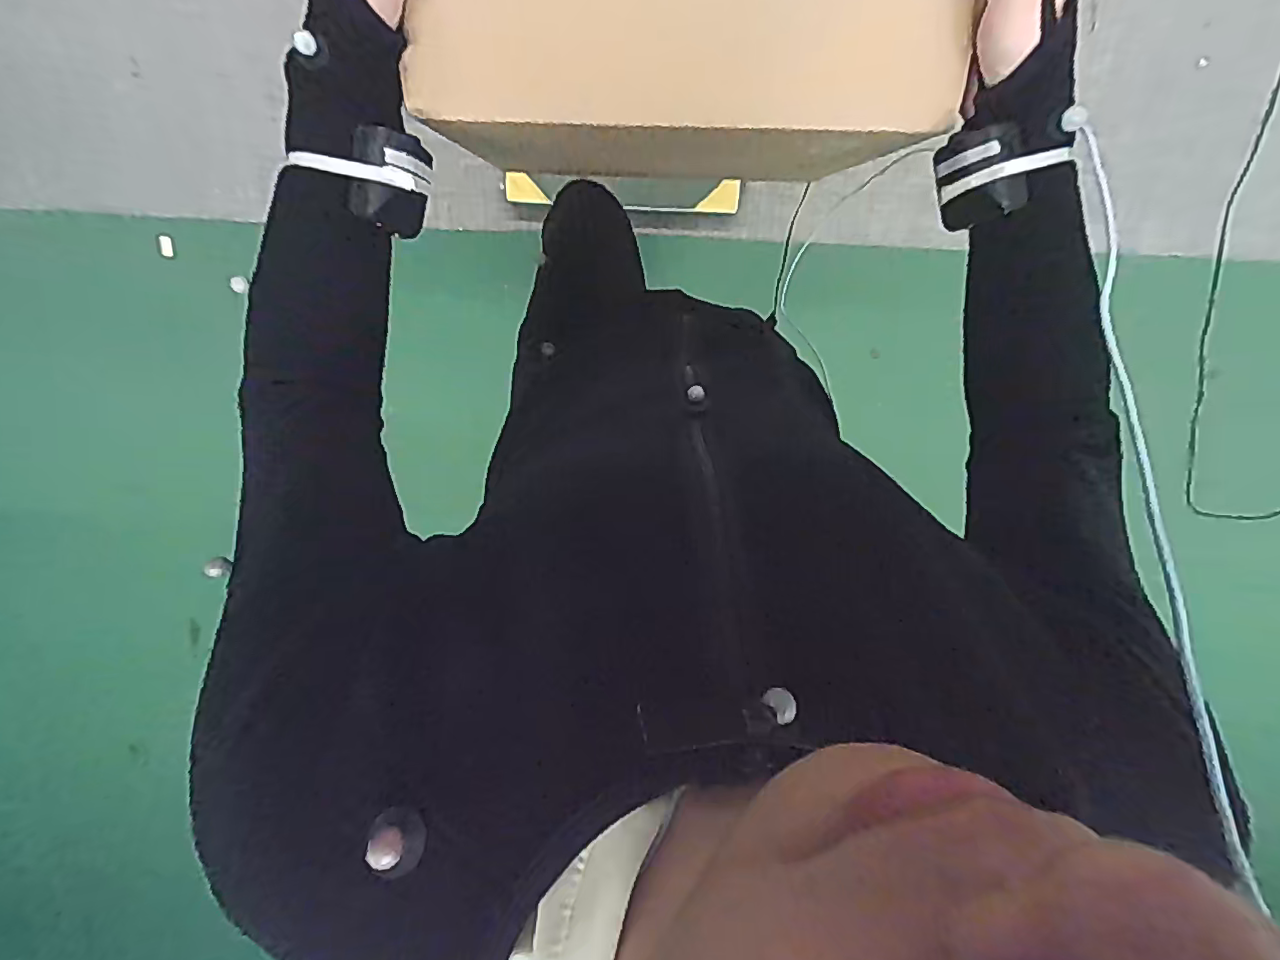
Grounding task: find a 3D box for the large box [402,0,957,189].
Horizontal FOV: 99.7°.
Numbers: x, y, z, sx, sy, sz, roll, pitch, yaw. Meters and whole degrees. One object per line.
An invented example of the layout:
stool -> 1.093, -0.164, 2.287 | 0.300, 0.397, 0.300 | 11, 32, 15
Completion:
large box -> 0.024, -0.459, 0.494 | 0.408, 0.320, 0.320 | 0, 113, -2
